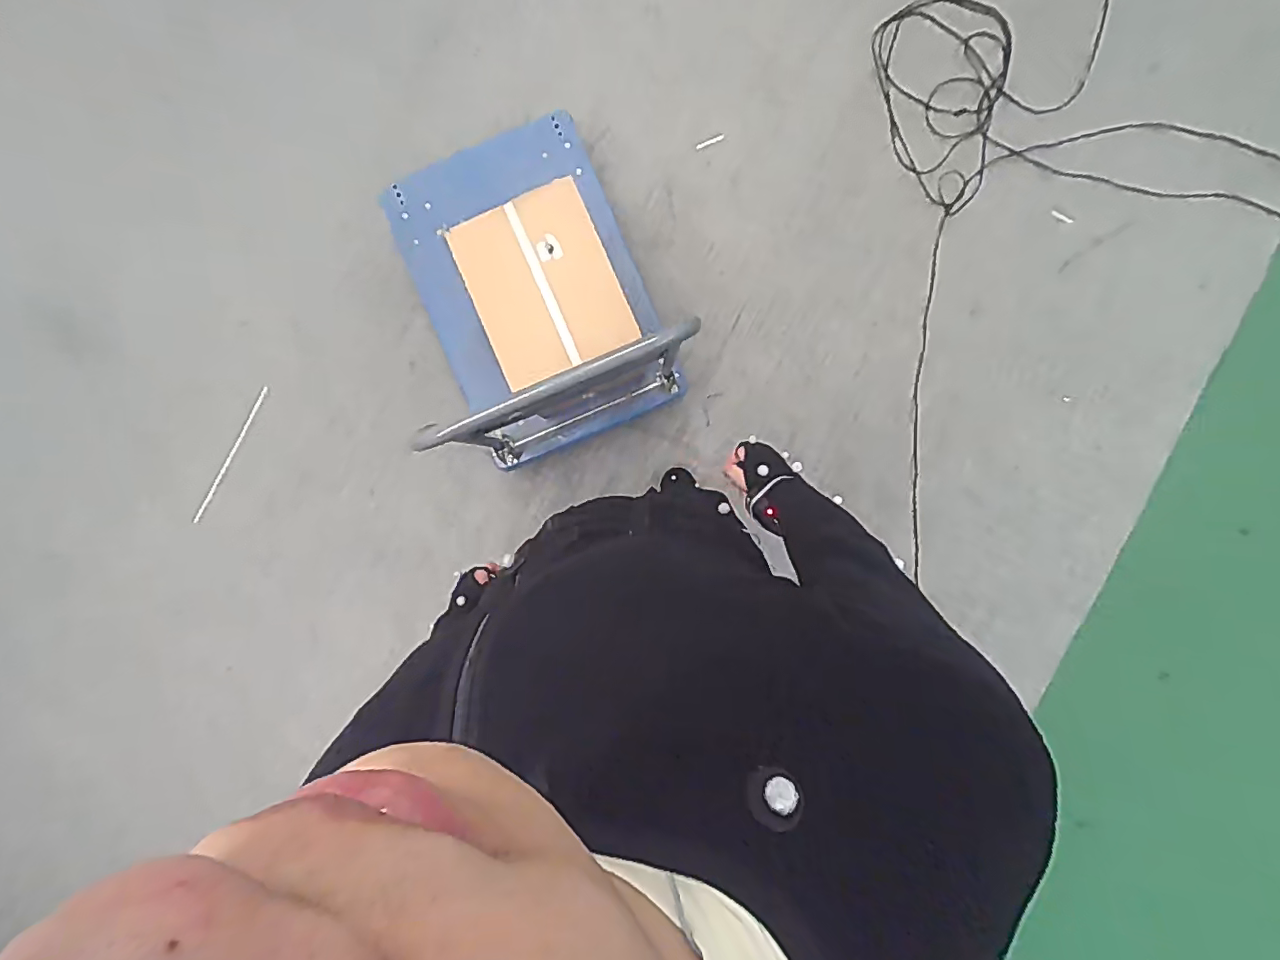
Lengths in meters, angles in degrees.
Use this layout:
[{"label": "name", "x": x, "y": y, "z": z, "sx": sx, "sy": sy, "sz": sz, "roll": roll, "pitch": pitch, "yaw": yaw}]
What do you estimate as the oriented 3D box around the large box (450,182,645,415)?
[{"label": "large box", "x": -0.206, "y": -0.423, "z": 1.353, "sx": 0.320, "sy": 0.320, "sz": 0.408, "roll": -23, "pitch": 87, "yaw": 0}]
